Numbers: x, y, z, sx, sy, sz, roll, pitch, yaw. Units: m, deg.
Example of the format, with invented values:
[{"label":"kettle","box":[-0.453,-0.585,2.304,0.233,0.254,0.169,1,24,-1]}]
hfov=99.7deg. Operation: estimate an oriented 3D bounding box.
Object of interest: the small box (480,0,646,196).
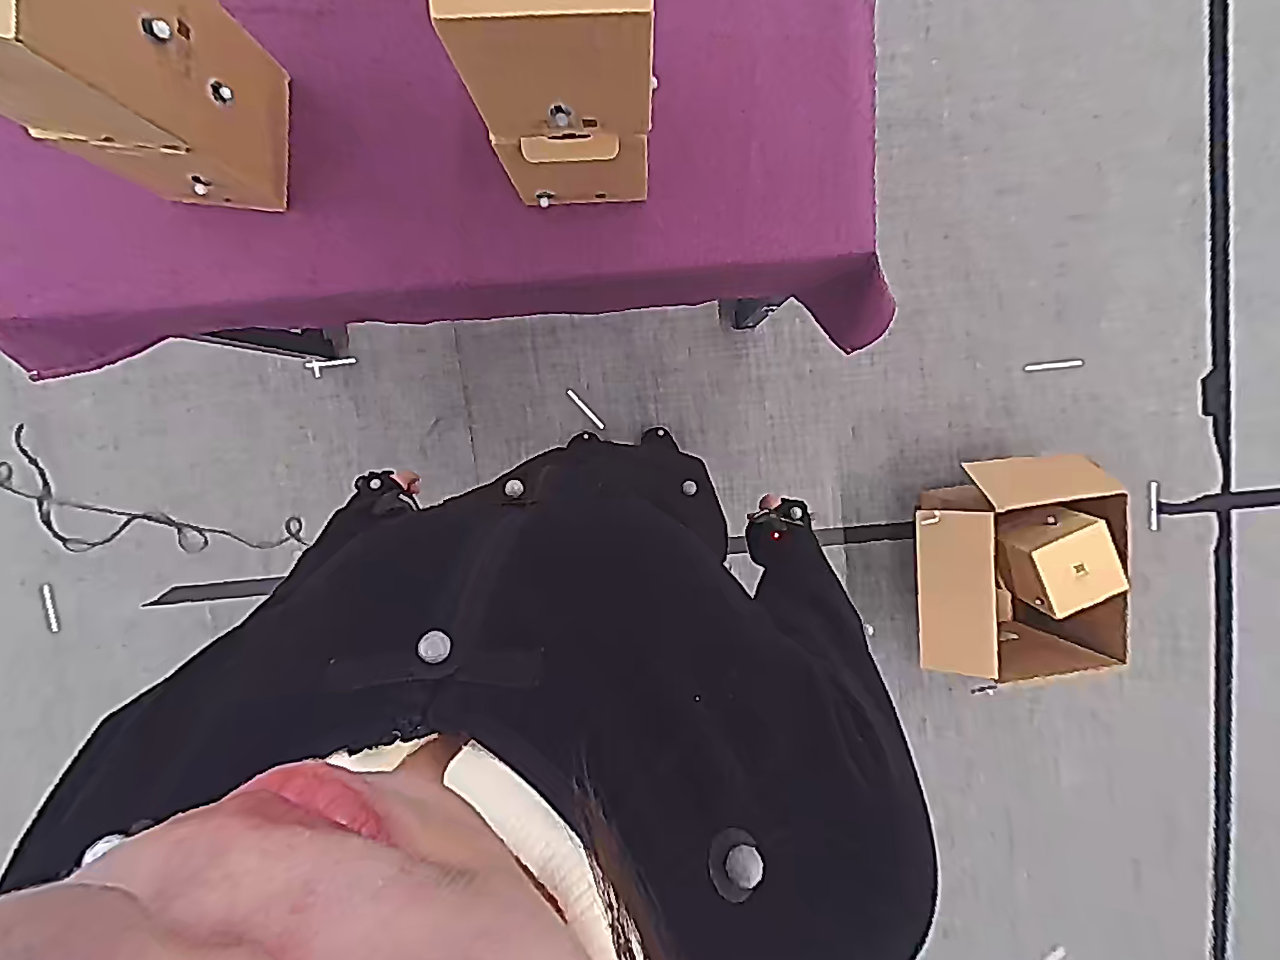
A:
[{"label":"small box","box":[-0.078,-0.449,0.628,0.168,0.176,0.179,-2,95,0]}]

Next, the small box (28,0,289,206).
[{"label":"small box","box":[-0.543,-0.444,0.630,0.168,0.176,0.179,6,96,-2]}]

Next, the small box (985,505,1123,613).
[{"label":"small box","box":[0.943,0.171,1.250,0.168,0.176,0.179,-27,100,5]}]

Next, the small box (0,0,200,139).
[{"label":"small box","box":[-0.536,-0.427,0.467,0.179,0.176,0.168,7,97,-2]}]
